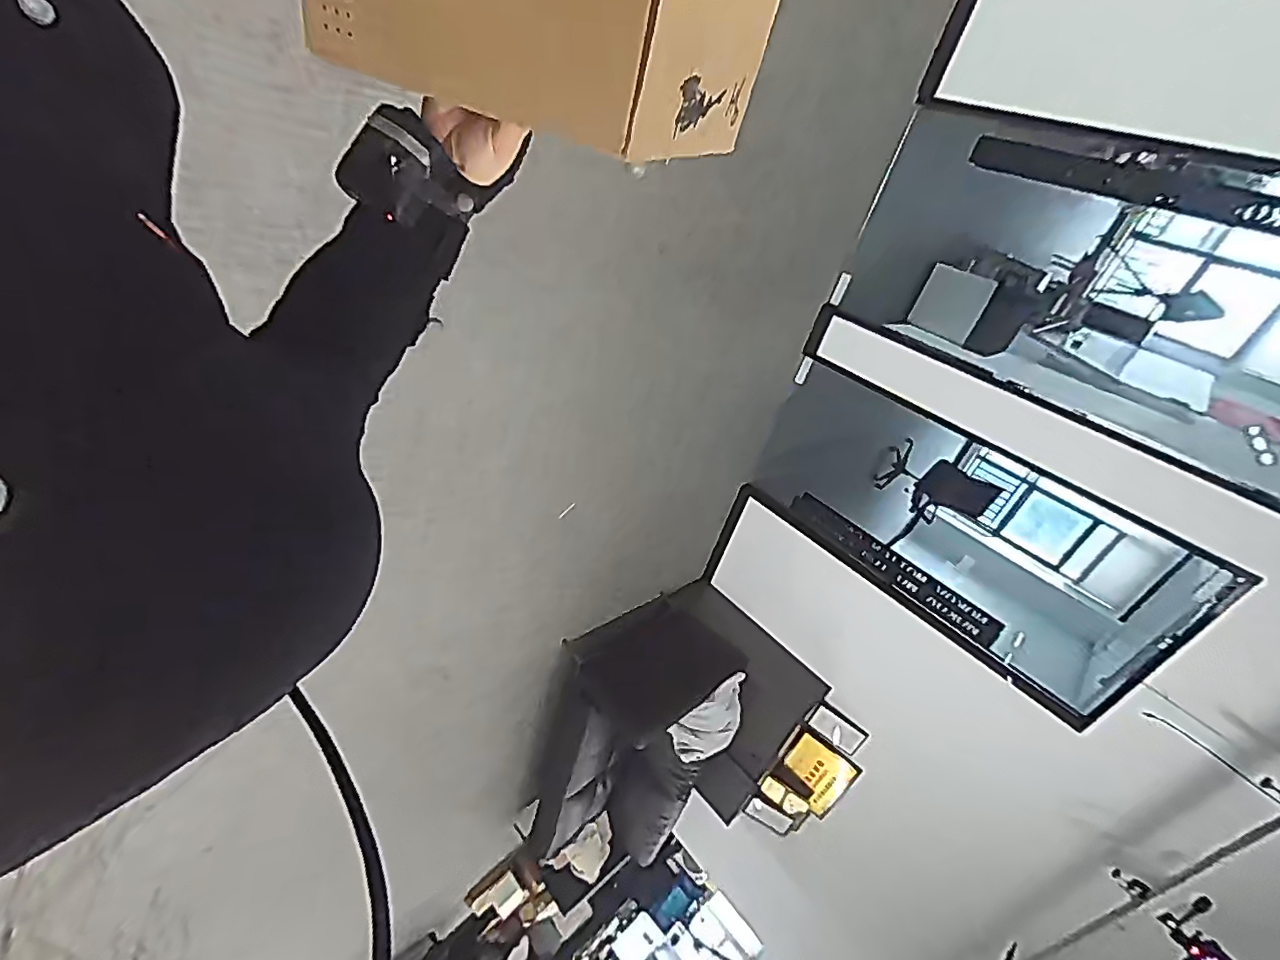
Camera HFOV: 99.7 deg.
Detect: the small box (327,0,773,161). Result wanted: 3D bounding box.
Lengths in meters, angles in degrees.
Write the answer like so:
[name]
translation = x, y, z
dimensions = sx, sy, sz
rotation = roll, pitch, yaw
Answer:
[small box]
translation = -0.030, -0.272, 0.256
dimensions = 0.168, 0.176, 0.179
rotation = -51, 161, -50
